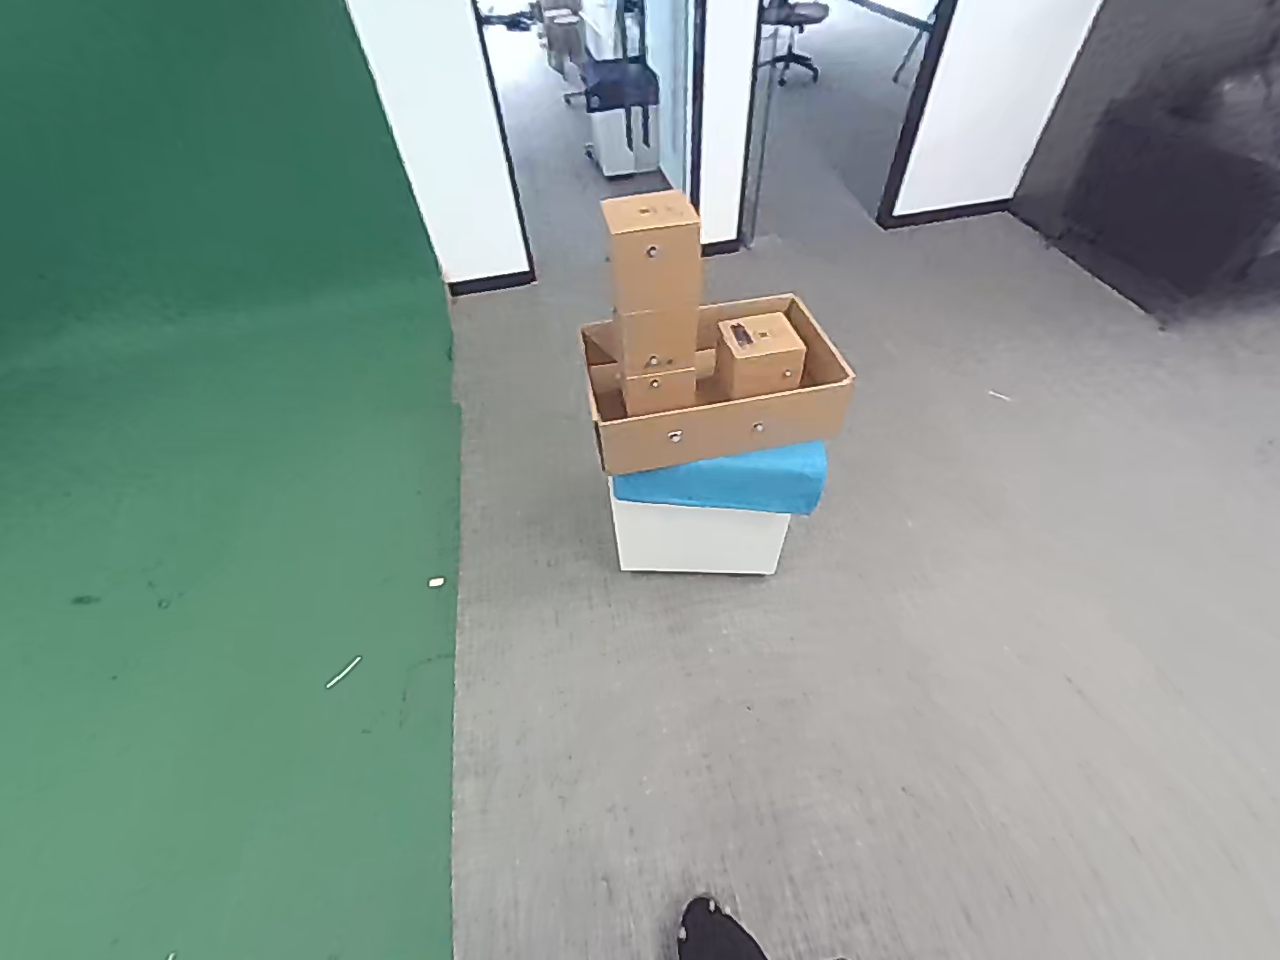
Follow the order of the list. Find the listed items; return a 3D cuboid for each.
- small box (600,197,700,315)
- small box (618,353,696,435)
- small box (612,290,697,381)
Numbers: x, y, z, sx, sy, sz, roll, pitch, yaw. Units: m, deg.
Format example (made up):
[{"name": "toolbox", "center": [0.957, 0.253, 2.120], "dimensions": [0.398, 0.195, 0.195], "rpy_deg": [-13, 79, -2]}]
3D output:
[{"name": "small box", "center": [0.022, -0.459, 1.118], "dimensions": [0.179, 0.176, 0.168], "rpy_deg": [-10, 48, -5]}, {"name": "small box", "center": [0.039, -0.239, 1.360], "dimensions": [0.168, 0.176, 0.179], "rpy_deg": [-11, 48, -4]}, {"name": "small box", "center": [0.029, -0.352, 1.243], "dimensions": [0.168, 0.176, 0.179], "rpy_deg": [-10, 48, -6]}]
